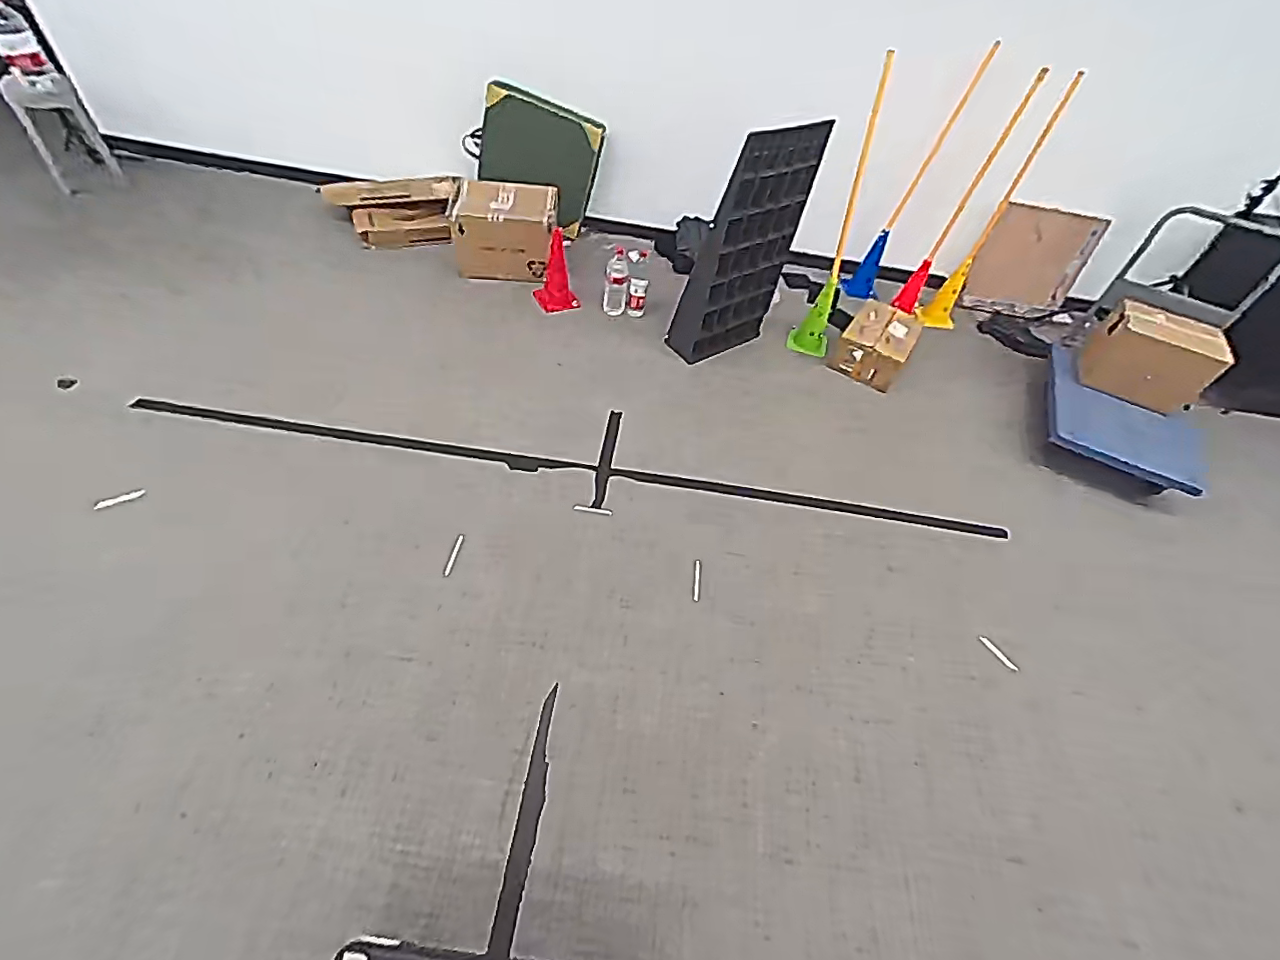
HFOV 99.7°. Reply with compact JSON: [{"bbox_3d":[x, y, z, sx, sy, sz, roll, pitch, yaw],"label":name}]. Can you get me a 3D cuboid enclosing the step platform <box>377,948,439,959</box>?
[{"bbox_3d":[-0.216,1.098,0.967,0.684,0.204,0.286,13,48,2],"label":"step platform"}]
